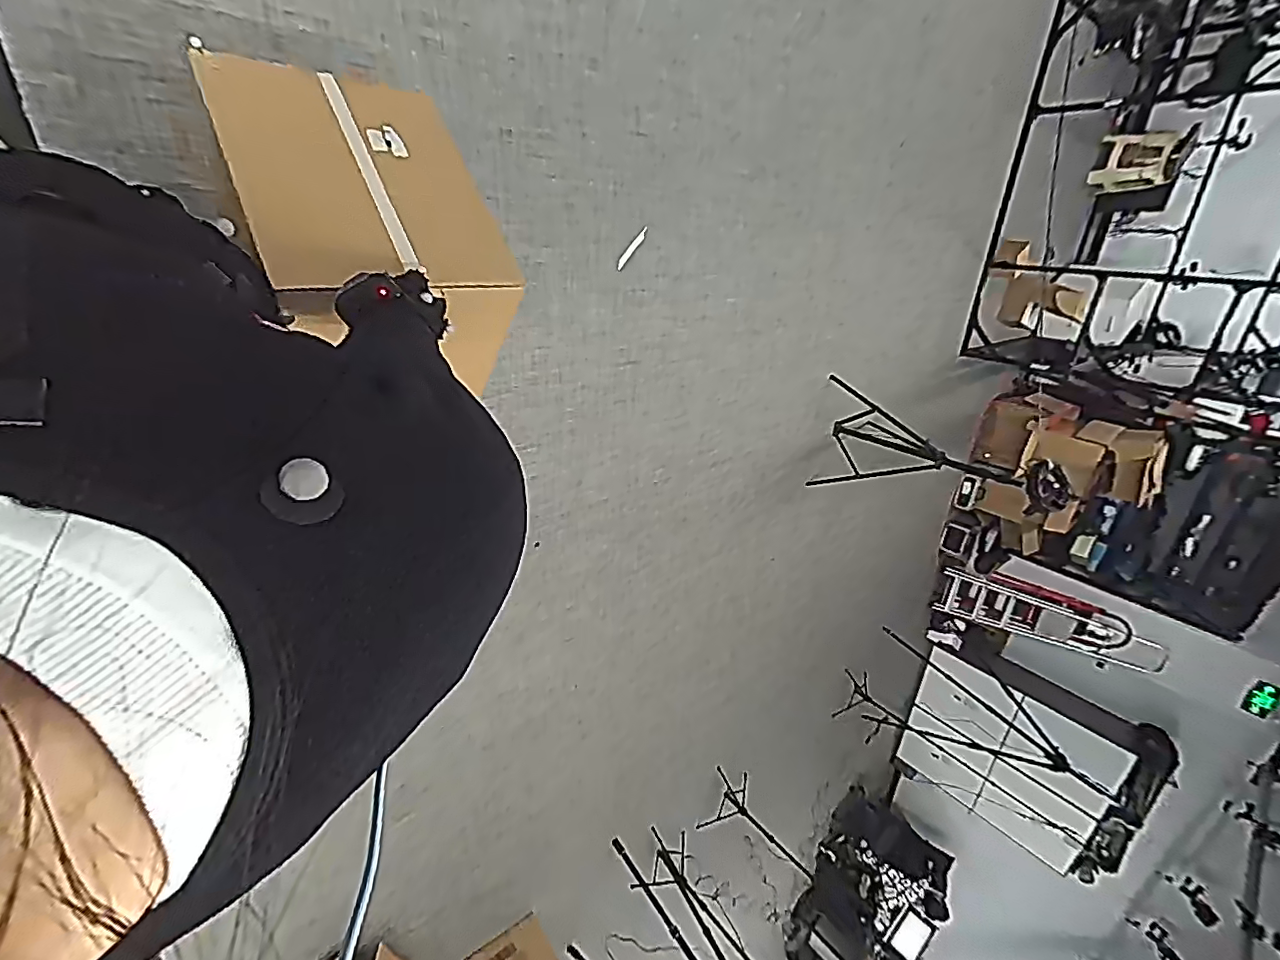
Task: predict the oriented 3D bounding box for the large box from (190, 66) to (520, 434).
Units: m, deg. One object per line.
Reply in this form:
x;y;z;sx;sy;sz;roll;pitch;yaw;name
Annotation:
-0.449;-0.339;0.862;0.320;0.408;0.320;-17;161;-39;large box
